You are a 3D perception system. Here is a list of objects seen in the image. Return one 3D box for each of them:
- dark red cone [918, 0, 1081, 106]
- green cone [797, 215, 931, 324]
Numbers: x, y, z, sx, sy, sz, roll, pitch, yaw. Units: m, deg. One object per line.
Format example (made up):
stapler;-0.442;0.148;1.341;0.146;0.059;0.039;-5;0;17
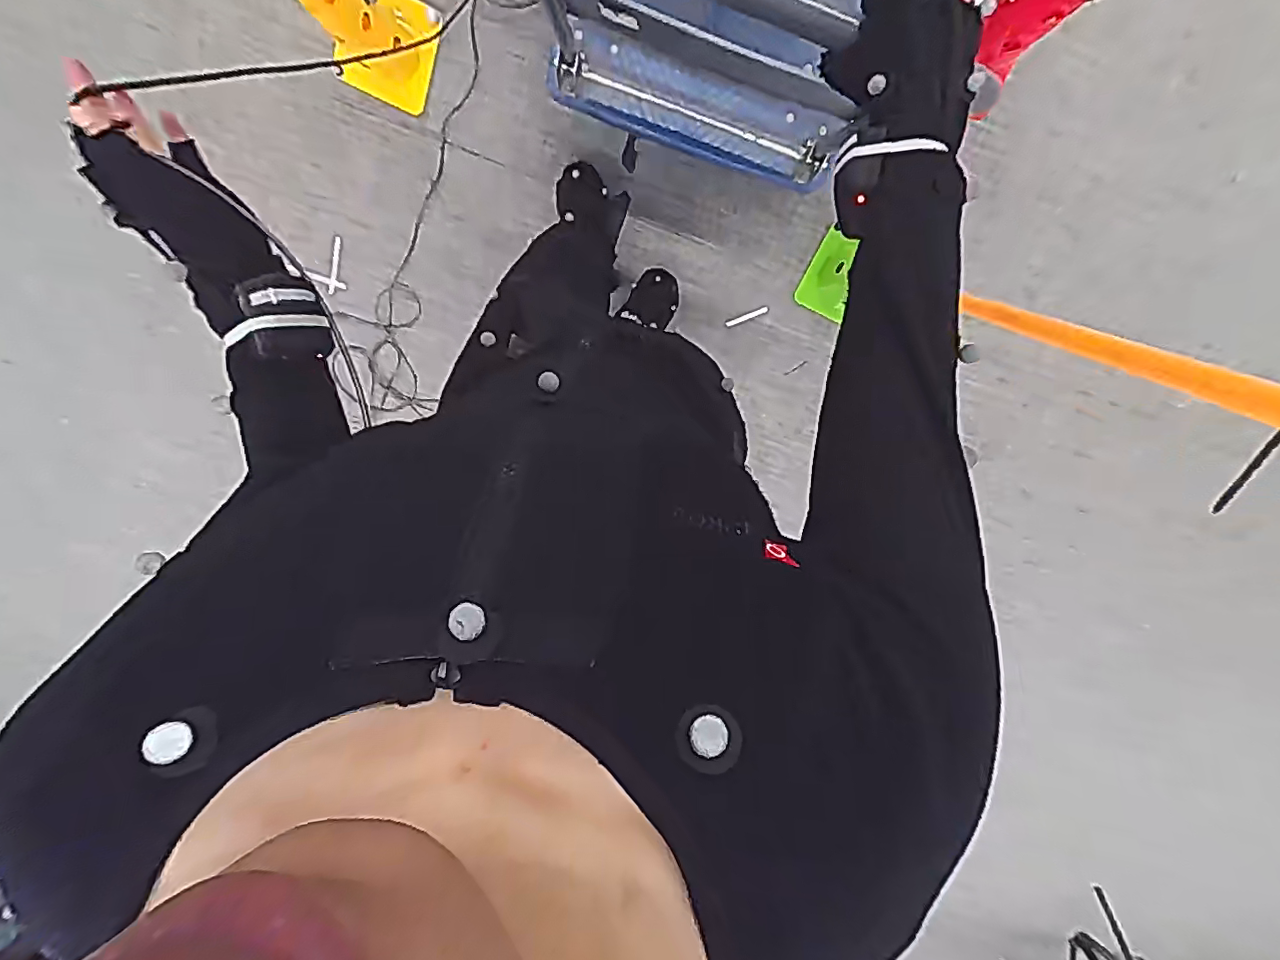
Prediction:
dark red cone;0.689;-0.831;0.940;0.201;0.394;0.202;18;113;-9
green cone;0.501;-0.431;1.140;0.202;0.368;0.200;22;112;-10
